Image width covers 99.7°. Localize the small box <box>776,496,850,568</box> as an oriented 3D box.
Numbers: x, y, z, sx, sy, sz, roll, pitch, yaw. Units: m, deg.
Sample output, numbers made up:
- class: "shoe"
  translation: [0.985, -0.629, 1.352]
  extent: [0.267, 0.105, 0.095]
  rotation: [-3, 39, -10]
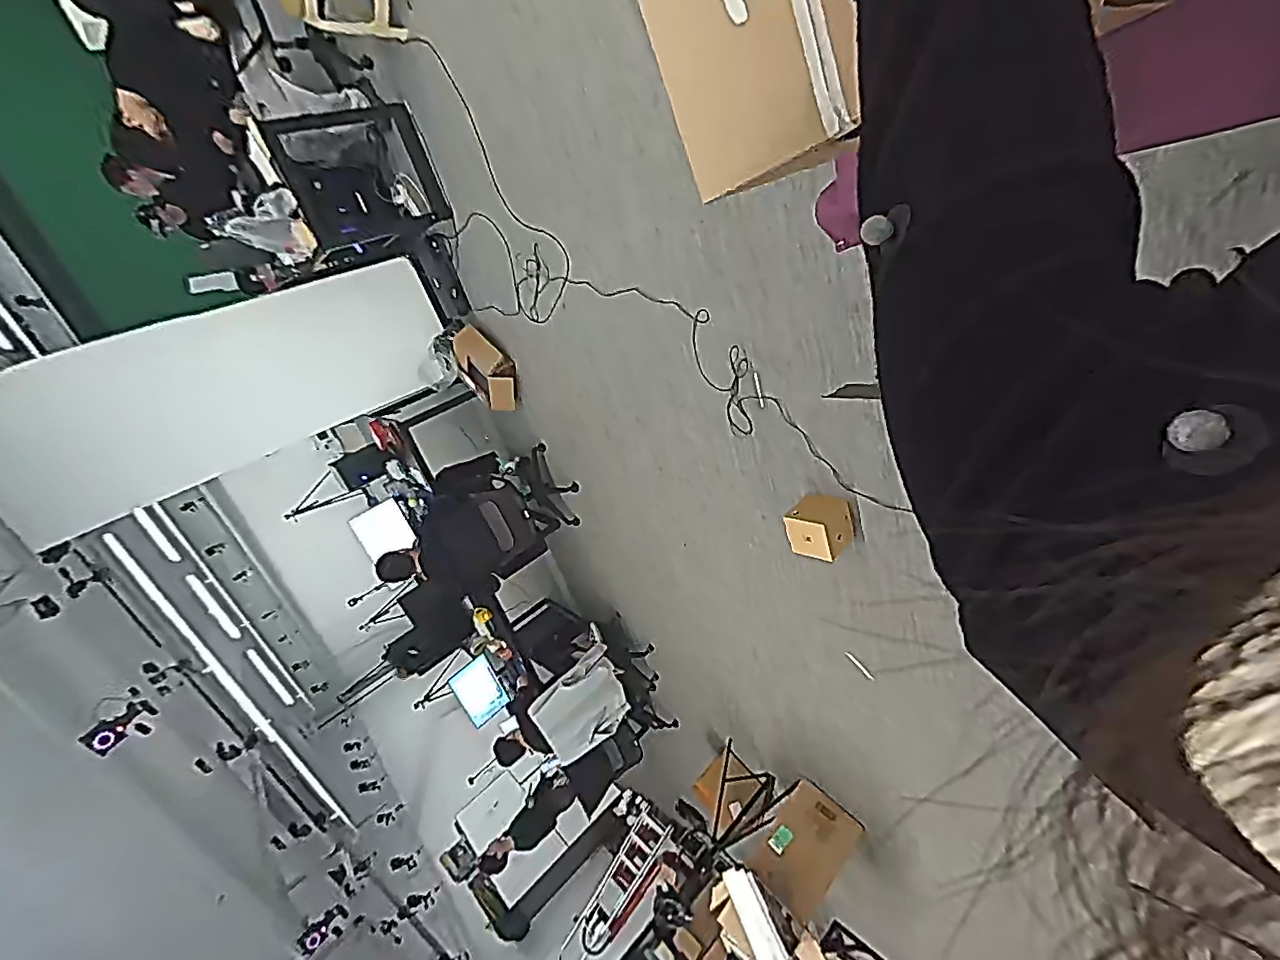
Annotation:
- class: "small box"
  translation: [0.634, 0.192, 2.004]
  extent: [0.179, 0.176, 0.168]
  rotation: [49, 174, -26]
